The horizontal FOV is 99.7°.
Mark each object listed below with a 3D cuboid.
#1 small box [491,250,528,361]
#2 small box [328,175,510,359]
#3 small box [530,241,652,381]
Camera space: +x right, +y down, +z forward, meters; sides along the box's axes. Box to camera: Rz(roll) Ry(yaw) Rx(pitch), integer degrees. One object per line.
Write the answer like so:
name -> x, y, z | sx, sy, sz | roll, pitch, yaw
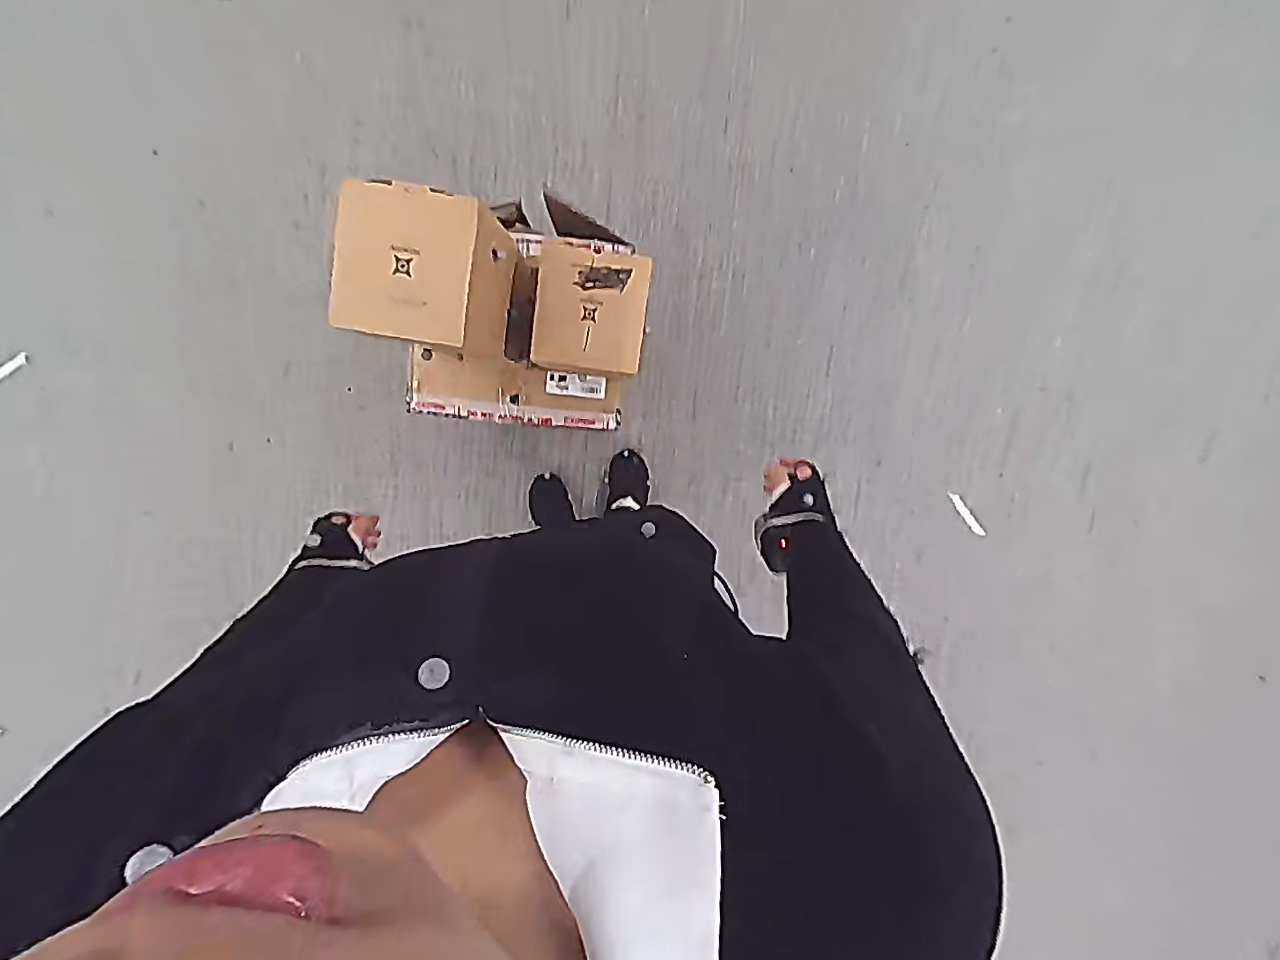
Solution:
small box -> -0.286, -0.294, 0.874 | 0.168, 0.176, 0.179 | 9, 98, -1
small box -> -0.277, -0.265, 0.713 | 0.168, 0.176, 0.179 | 9, 98, 0
small box -> -0.079, -0.264, 0.884 | 0.168, 0.176, 0.179 | 7, 97, -4
